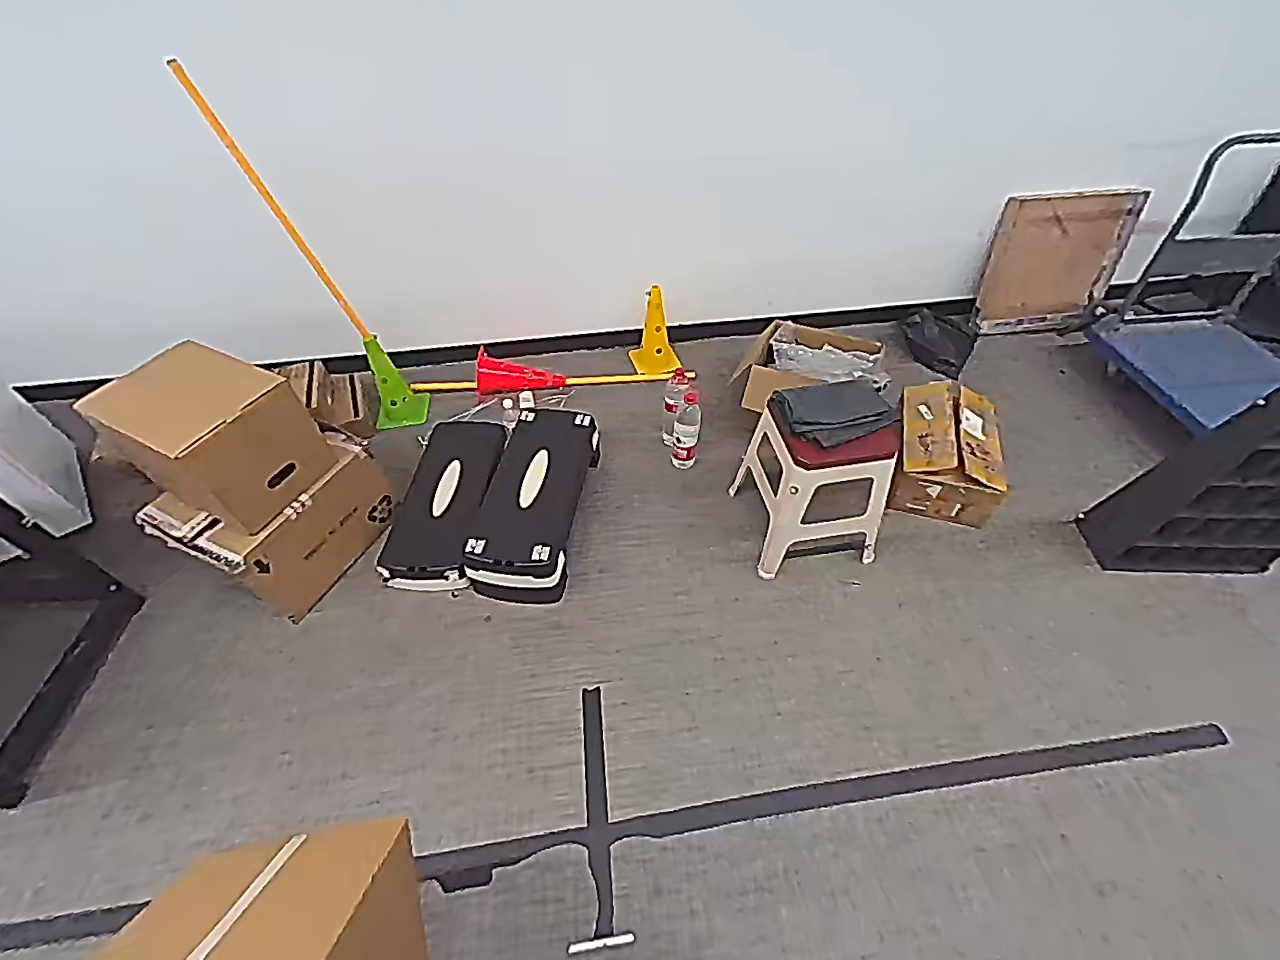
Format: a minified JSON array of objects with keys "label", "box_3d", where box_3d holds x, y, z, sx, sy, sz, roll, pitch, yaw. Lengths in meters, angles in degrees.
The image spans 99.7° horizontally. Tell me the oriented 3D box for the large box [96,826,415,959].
[{"label":"large box","box_3d":[-0.486,0.707,0.642,0.320,0.408,0.320,-9,90,-5]}]
